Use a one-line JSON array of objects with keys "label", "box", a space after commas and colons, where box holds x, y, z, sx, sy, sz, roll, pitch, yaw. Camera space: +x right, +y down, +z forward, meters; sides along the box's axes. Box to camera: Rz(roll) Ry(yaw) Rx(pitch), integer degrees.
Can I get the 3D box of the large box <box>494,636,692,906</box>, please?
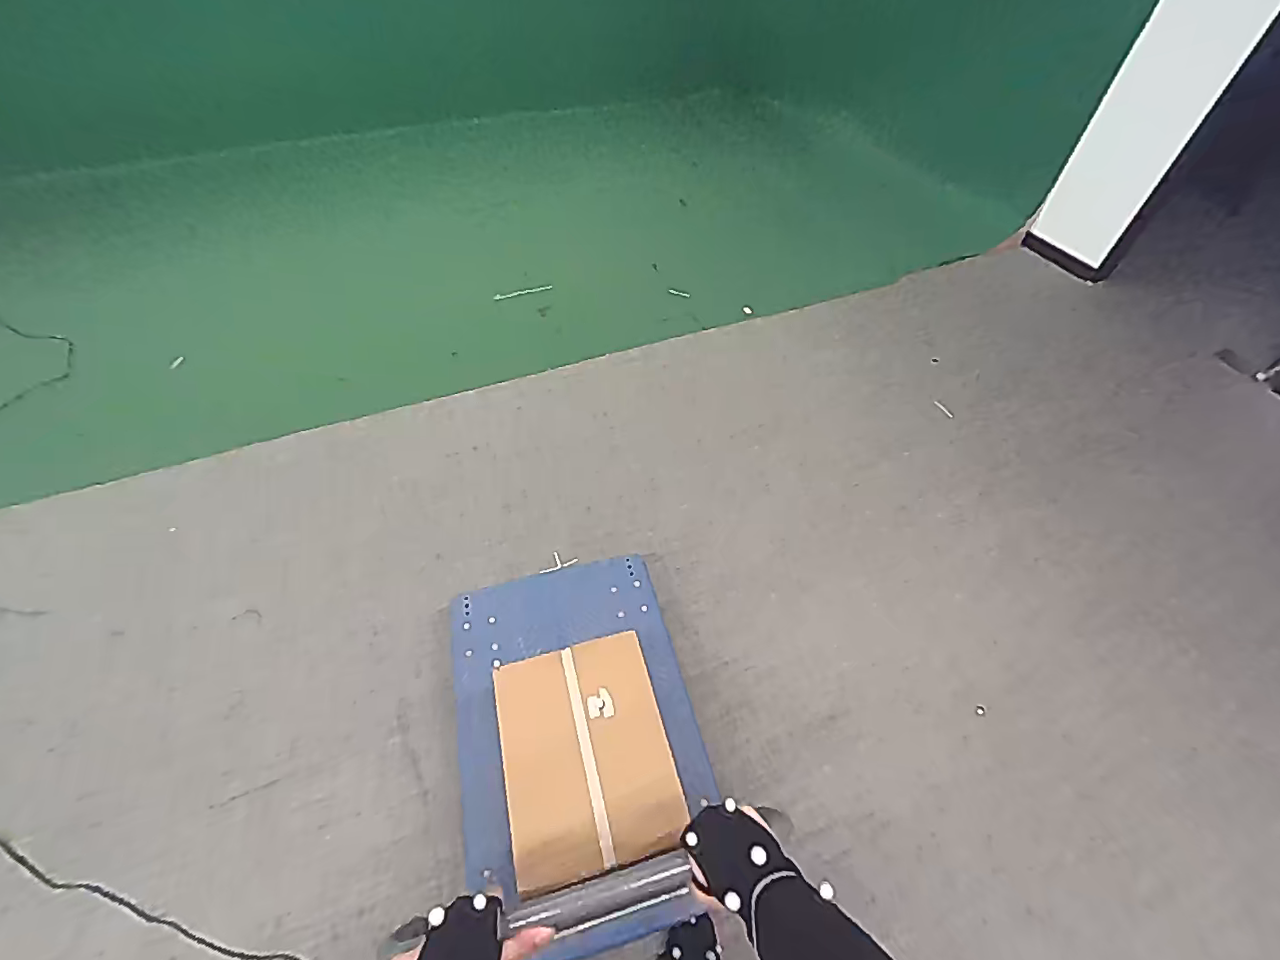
[{"label": "large box", "box": [-0.106, 0.618, 1.162, 0.320, 0.320, 0.408, -12, 51, -10]}]
